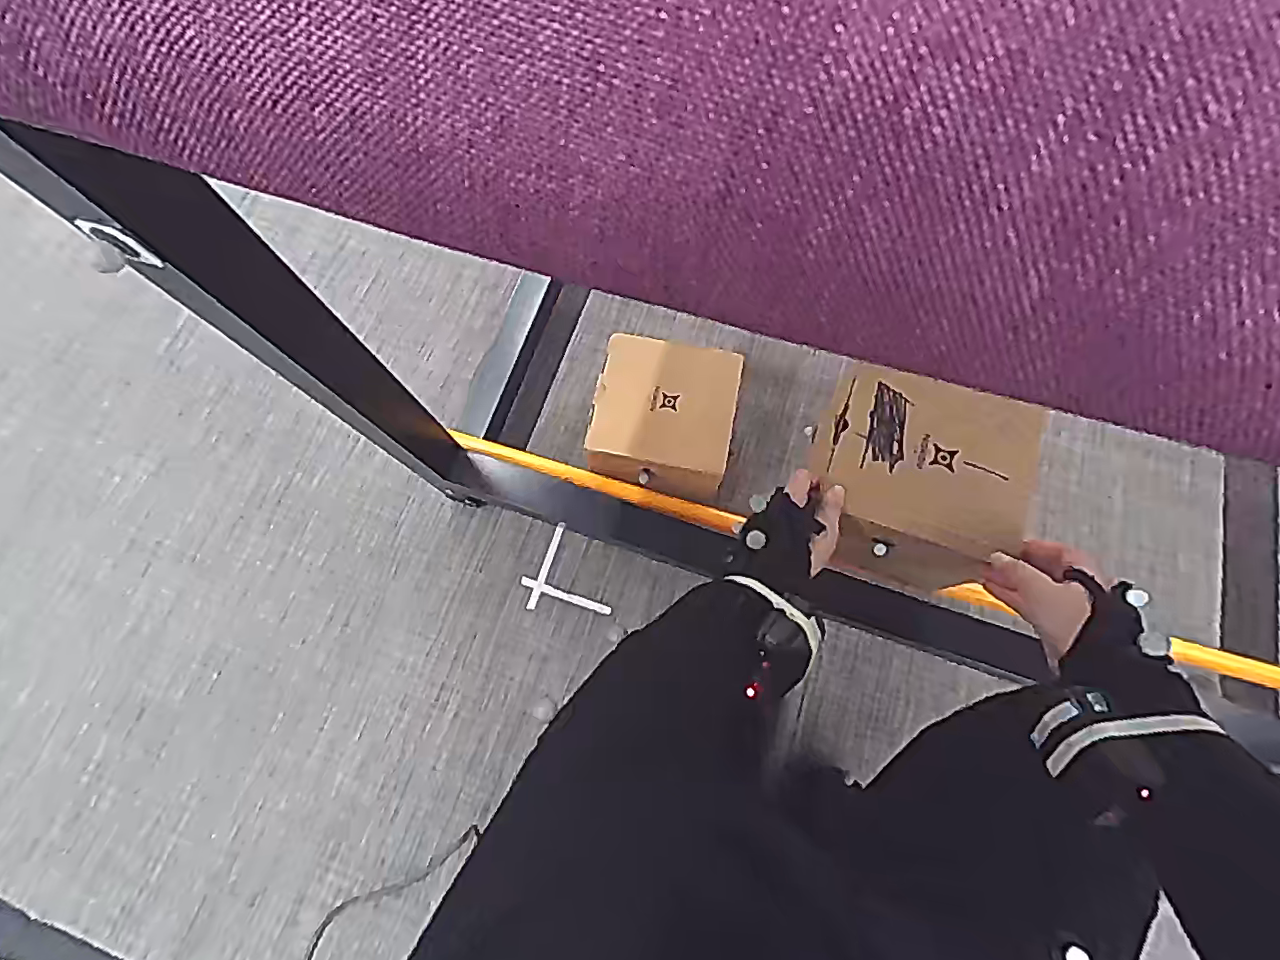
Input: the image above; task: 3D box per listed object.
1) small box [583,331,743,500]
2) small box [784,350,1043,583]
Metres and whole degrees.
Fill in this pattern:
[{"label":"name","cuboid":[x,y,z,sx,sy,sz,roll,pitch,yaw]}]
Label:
[{"label":"small box","cuboid":[0.032,-0.078,0.748,0.179,0.176,0.168,10,74,5]},{"label":"small box","cuboid":[0.268,-0.002,0.567,0.179,0.176,0.168,20,74,8]}]
